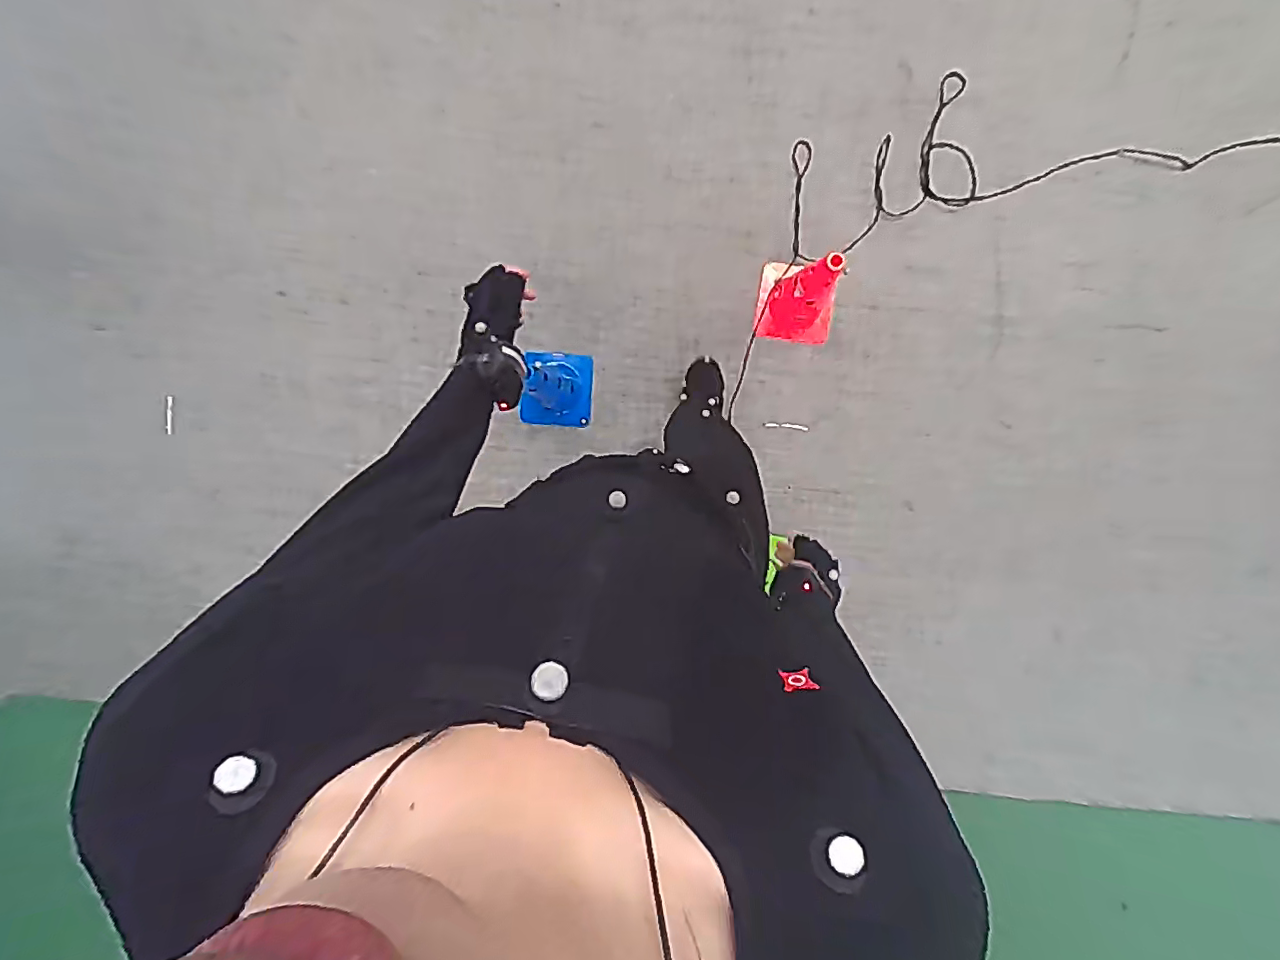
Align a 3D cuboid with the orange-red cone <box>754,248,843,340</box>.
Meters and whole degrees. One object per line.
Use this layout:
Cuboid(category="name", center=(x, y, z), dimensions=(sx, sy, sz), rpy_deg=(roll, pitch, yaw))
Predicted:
Cuboid(category="orange-red cone", center=(0.409, -0.469, 1.278), dimensions=(0.198, 0.360, 0.199), rpy_deg=(10, 96, 2))
